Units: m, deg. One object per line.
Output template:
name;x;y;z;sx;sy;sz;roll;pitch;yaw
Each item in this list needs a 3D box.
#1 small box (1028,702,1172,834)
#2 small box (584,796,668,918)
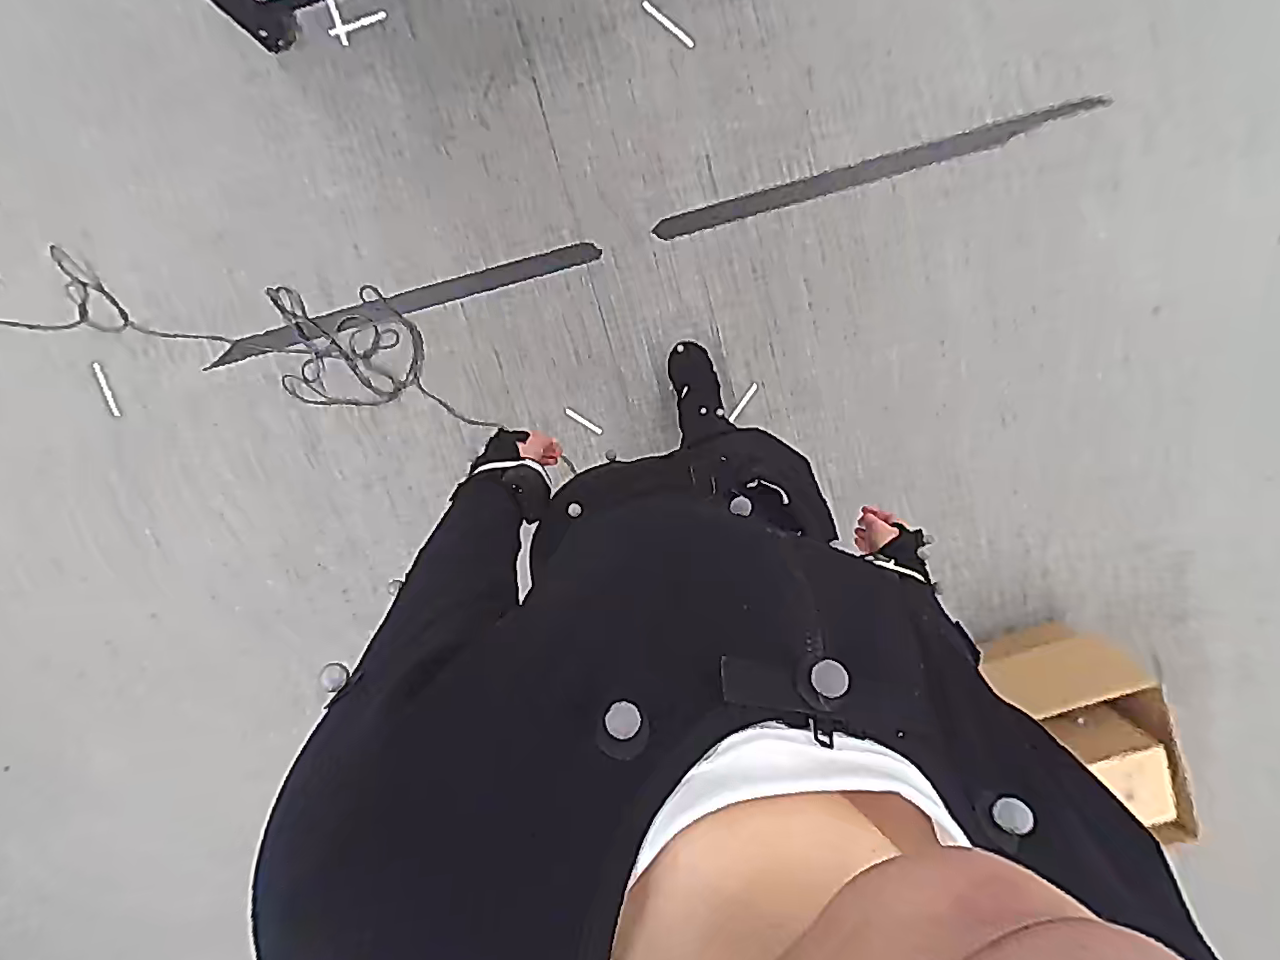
small box;1.009;0.630;1.199;0.168;0.176;0.179;-17;98;4
small box;-0.027;0.870;1.266;0.168;0.176;0.179;-8;102;6
